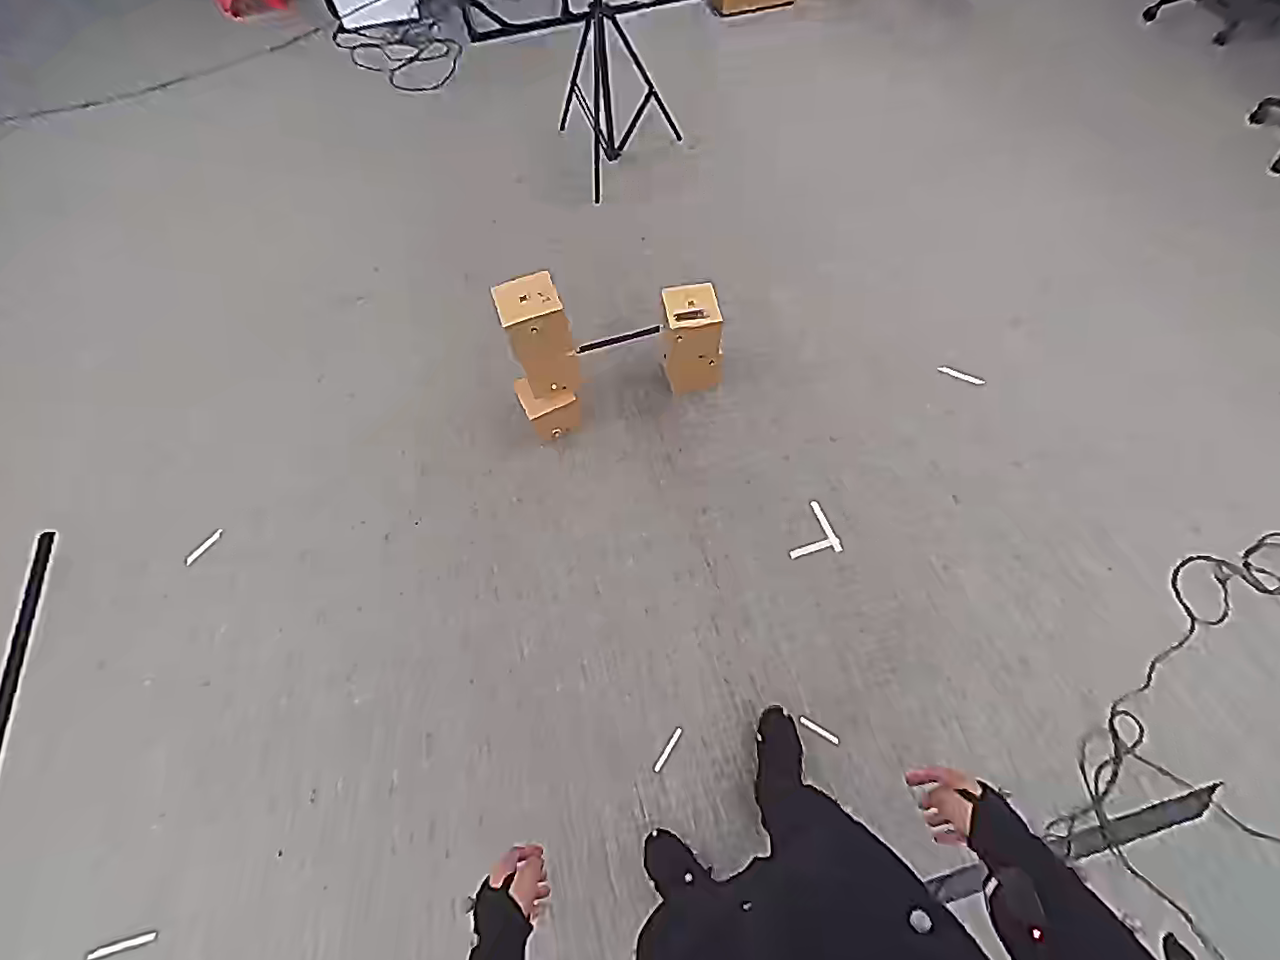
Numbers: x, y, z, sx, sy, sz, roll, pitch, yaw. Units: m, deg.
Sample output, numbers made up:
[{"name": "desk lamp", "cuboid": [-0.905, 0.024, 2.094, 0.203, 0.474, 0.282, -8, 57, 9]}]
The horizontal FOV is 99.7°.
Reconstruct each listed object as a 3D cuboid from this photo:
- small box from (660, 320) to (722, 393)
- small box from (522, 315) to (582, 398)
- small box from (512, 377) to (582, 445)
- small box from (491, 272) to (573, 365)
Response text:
[{"name": "small box", "cuboid": [0.175, -0.427, 1.892, 0.179, 0.176, 0.168, -15, 62, -5]}, {"name": "small box", "cuboid": [-0.286, -0.390, 1.716, 0.168, 0.176, 0.179, -13, 62, -2]}, {"name": "small box", "cuboid": [-0.310, -0.250, 1.829, 0.168, 0.176, 0.179, -26, 64, -9]}, {"name": "small box", "cuboid": [-0.310, -0.463, 1.570, 0.179, 0.176, 0.168, -19, 62, -6]}]
